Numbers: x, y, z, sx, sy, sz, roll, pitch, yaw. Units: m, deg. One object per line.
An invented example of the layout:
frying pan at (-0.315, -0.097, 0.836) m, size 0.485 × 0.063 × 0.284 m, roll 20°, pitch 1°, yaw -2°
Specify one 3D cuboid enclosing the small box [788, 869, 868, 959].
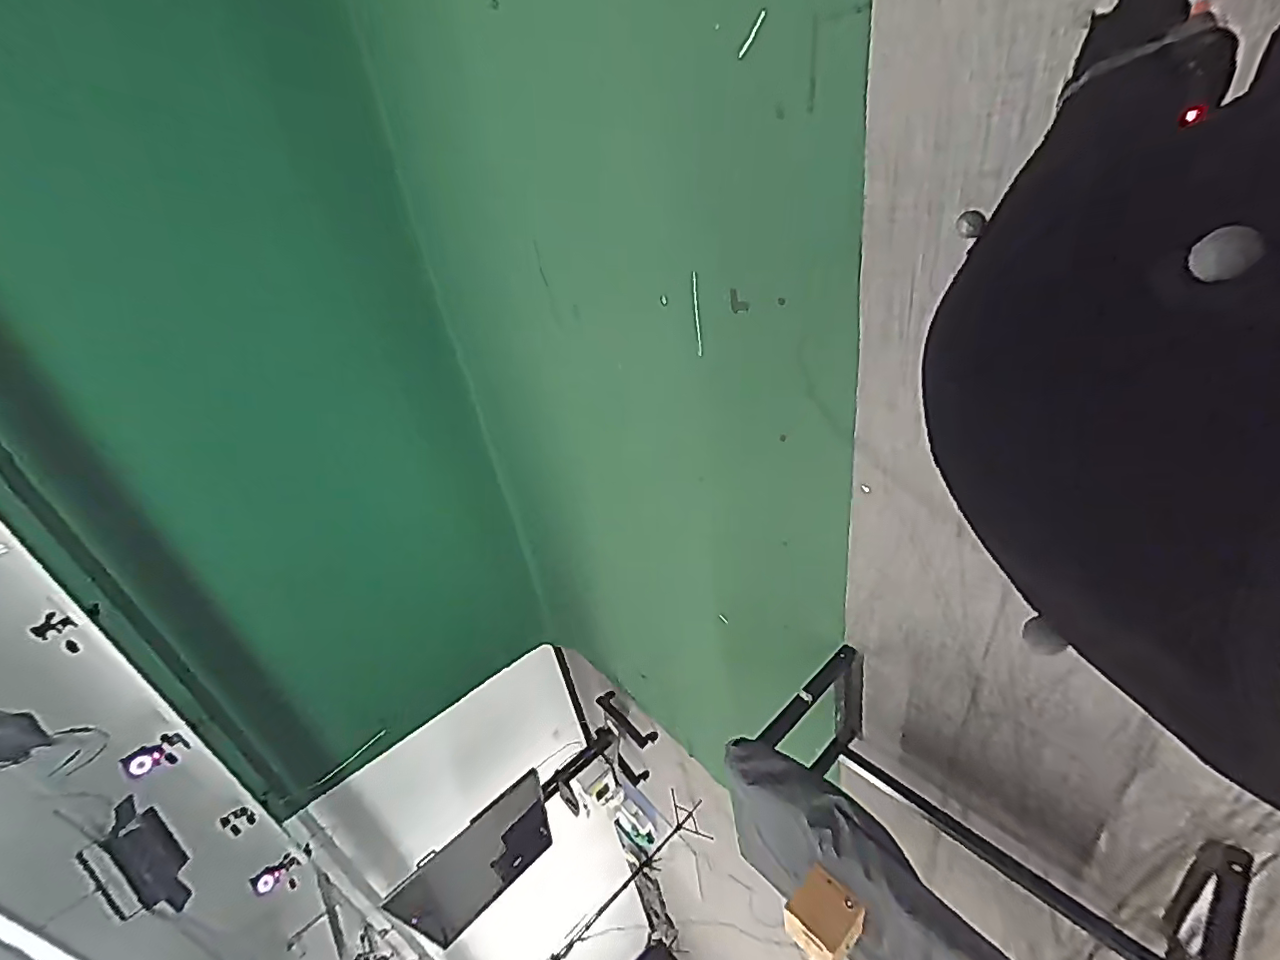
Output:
small box at (0.561, 1.322, 1.615) m, size 0.168 × 0.176 × 0.179 m, roll 24°, pitch 135°, yaw 44°
